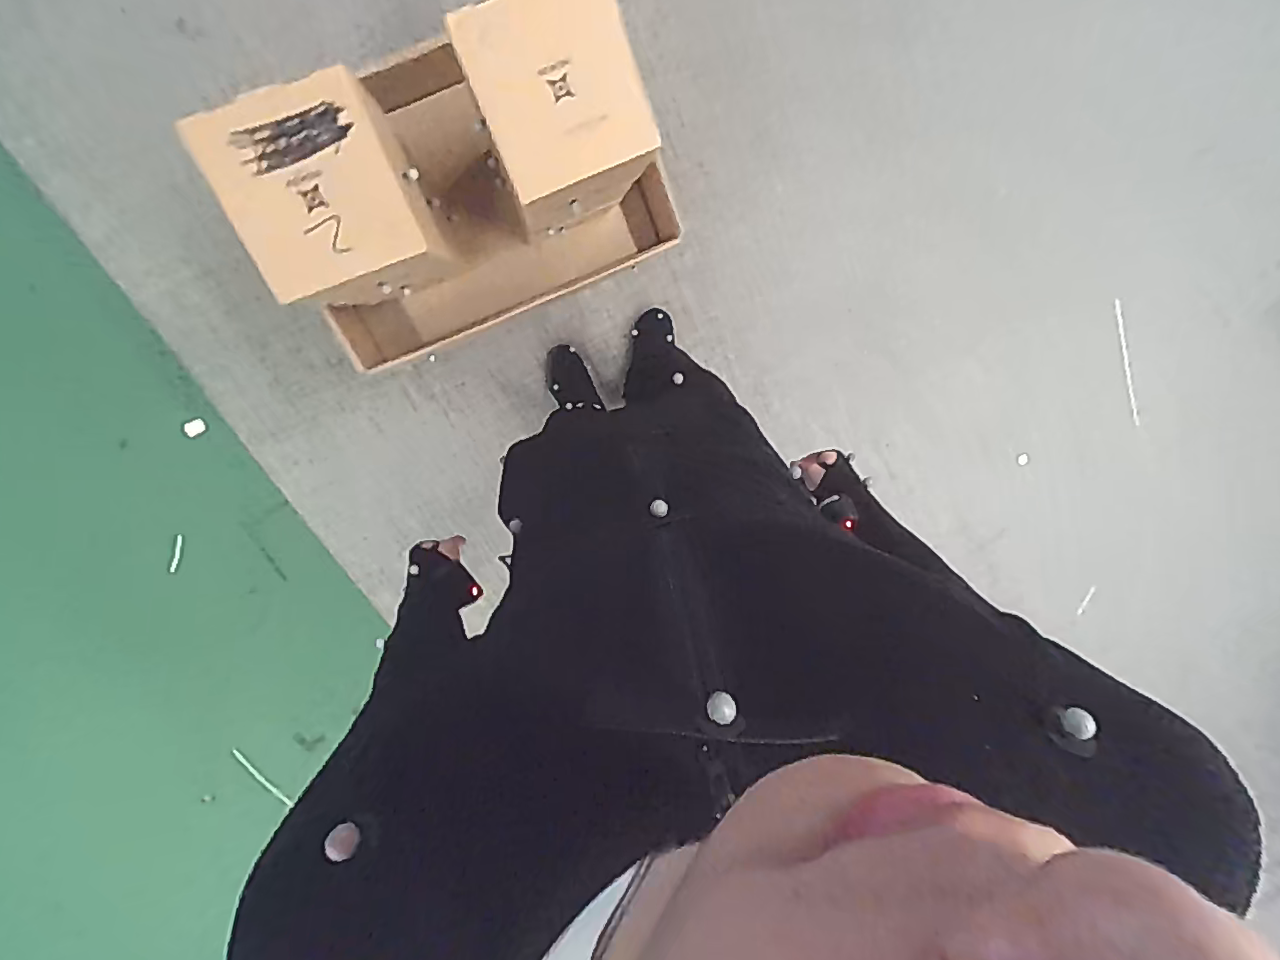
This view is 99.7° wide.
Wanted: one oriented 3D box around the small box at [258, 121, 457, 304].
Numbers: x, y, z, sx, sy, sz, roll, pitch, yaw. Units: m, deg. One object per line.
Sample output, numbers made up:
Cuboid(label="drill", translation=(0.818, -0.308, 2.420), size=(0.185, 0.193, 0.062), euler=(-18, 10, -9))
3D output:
Cuboid(label="small box", translation=(-0.377, -0.364, 0.765), size=(0.168, 0.176, 0.179), euler=(-23, 111, -4))

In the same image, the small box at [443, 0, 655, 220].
Cuboid(label="small box", translation=(-0.100, -0.425, 0.621), size=(0.168, 0.176, 0.179), euler=(-23, 111, -1))

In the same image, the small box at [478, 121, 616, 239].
Cuboid(label="small box", translation=(-0.154, -0.528, 0.926), size=(0.168, 0.176, 0.179), euler=(-23, 110, -2))
